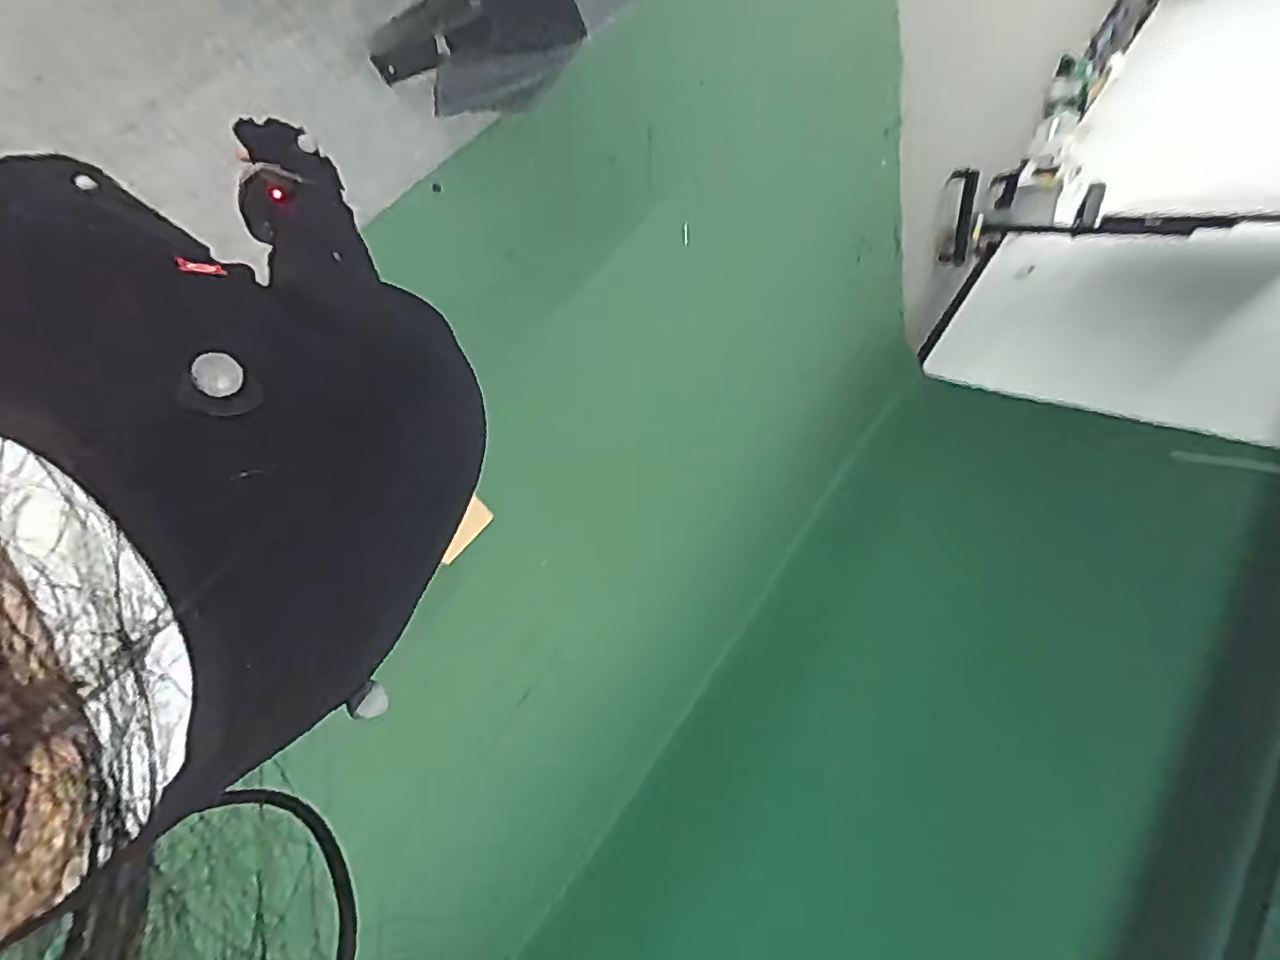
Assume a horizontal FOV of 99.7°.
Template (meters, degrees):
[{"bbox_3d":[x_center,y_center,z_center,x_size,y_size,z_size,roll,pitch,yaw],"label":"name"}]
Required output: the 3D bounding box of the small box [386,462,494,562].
[{"bbox_3d":[-0.531,0.079,1.434,0.179,0.176,0.168,-49,138,-20],"label":"small box"}]
